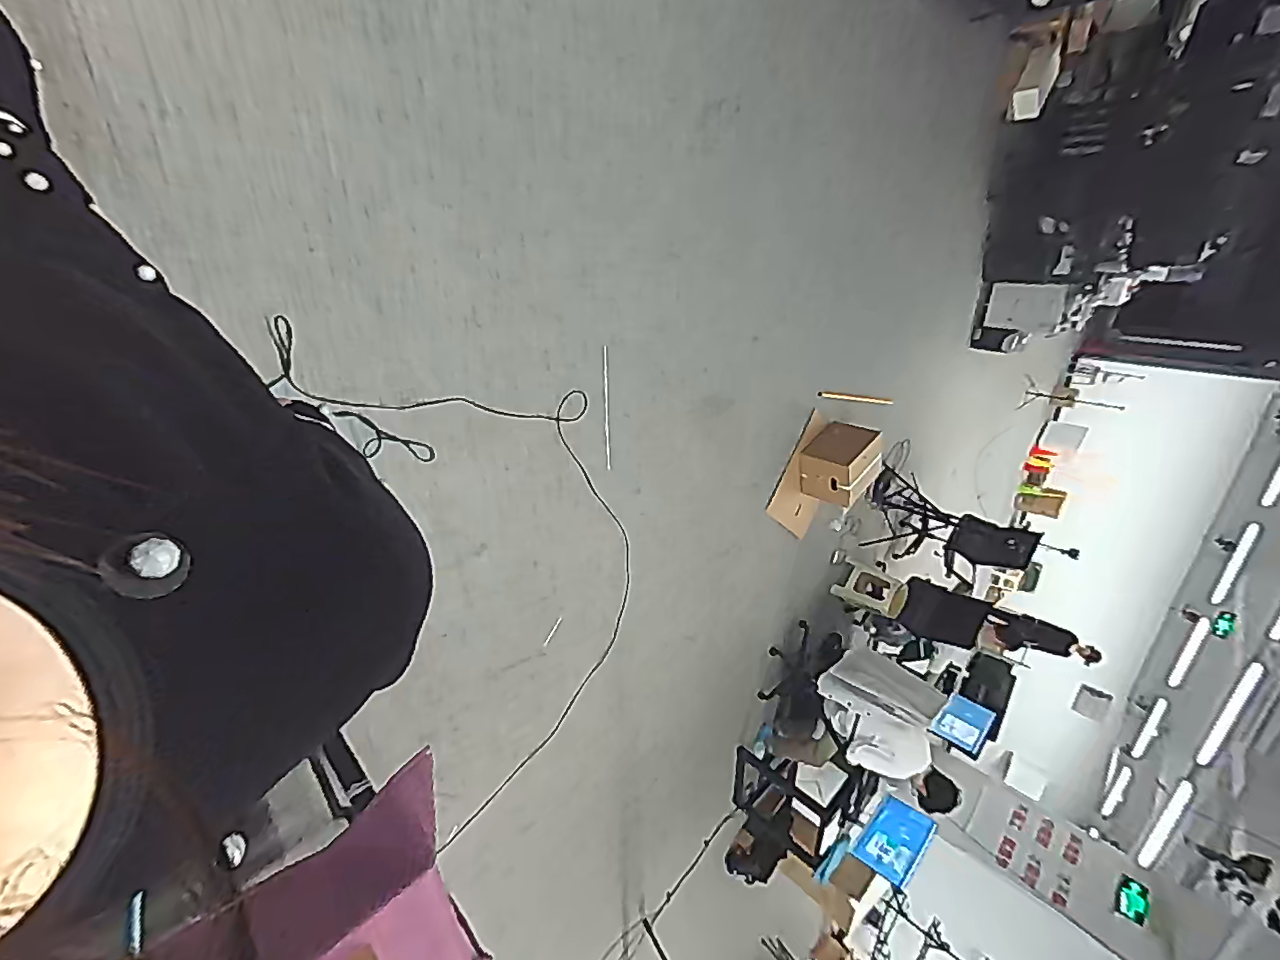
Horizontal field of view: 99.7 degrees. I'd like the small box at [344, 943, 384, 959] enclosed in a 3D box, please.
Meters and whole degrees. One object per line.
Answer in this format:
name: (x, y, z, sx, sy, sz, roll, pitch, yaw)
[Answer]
small box: (-0.519, 0.999, 0.974, 0.168, 0.176, 0.179, -26, 126, -37)
